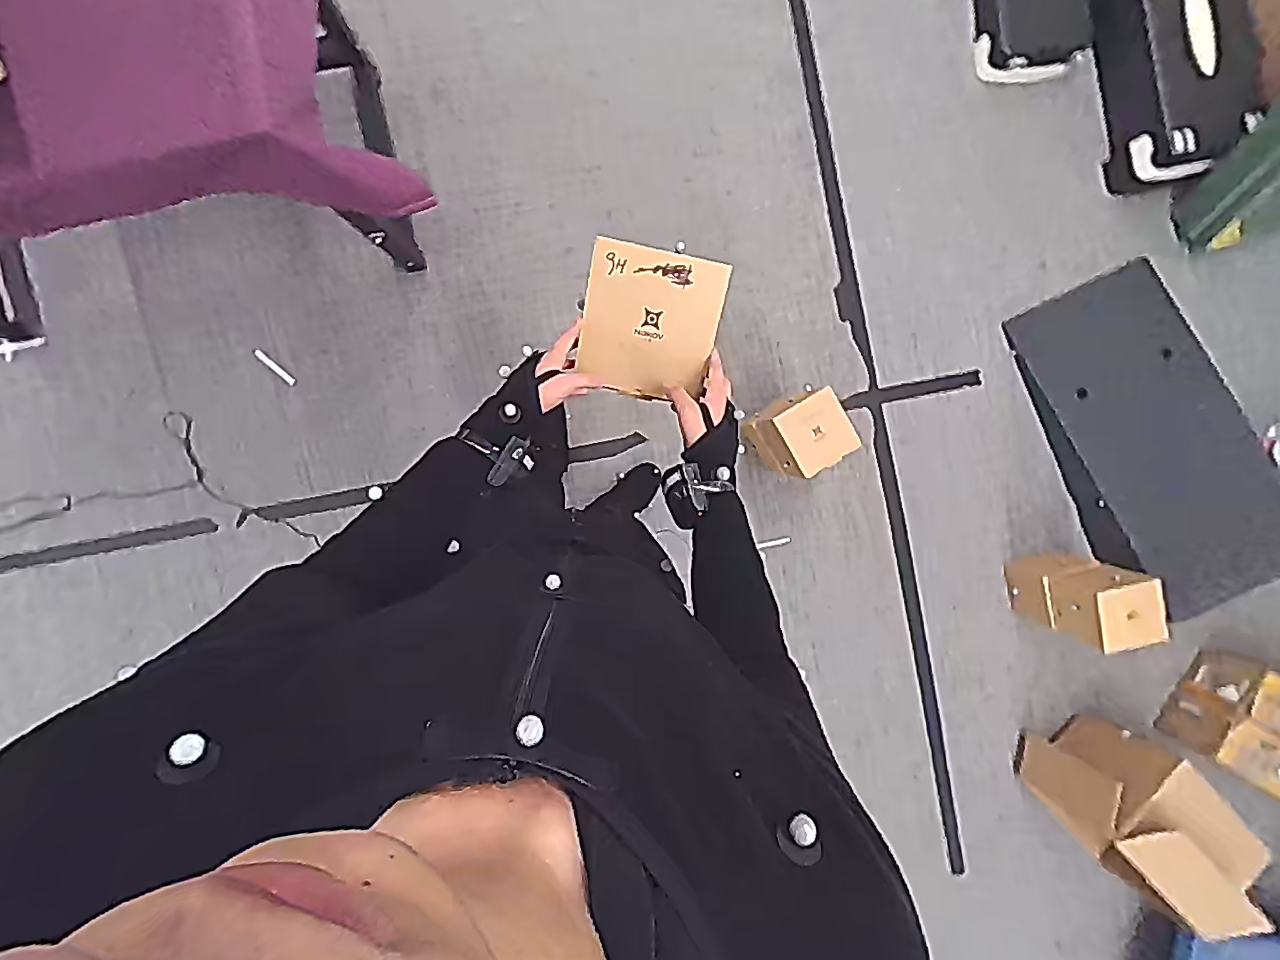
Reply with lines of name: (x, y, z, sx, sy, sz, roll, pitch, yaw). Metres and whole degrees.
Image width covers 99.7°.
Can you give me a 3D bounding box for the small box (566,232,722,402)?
small box: (0.001, -0.223, 0.736, 0.168, 0.176, 0.179, 10, 111, -5)
